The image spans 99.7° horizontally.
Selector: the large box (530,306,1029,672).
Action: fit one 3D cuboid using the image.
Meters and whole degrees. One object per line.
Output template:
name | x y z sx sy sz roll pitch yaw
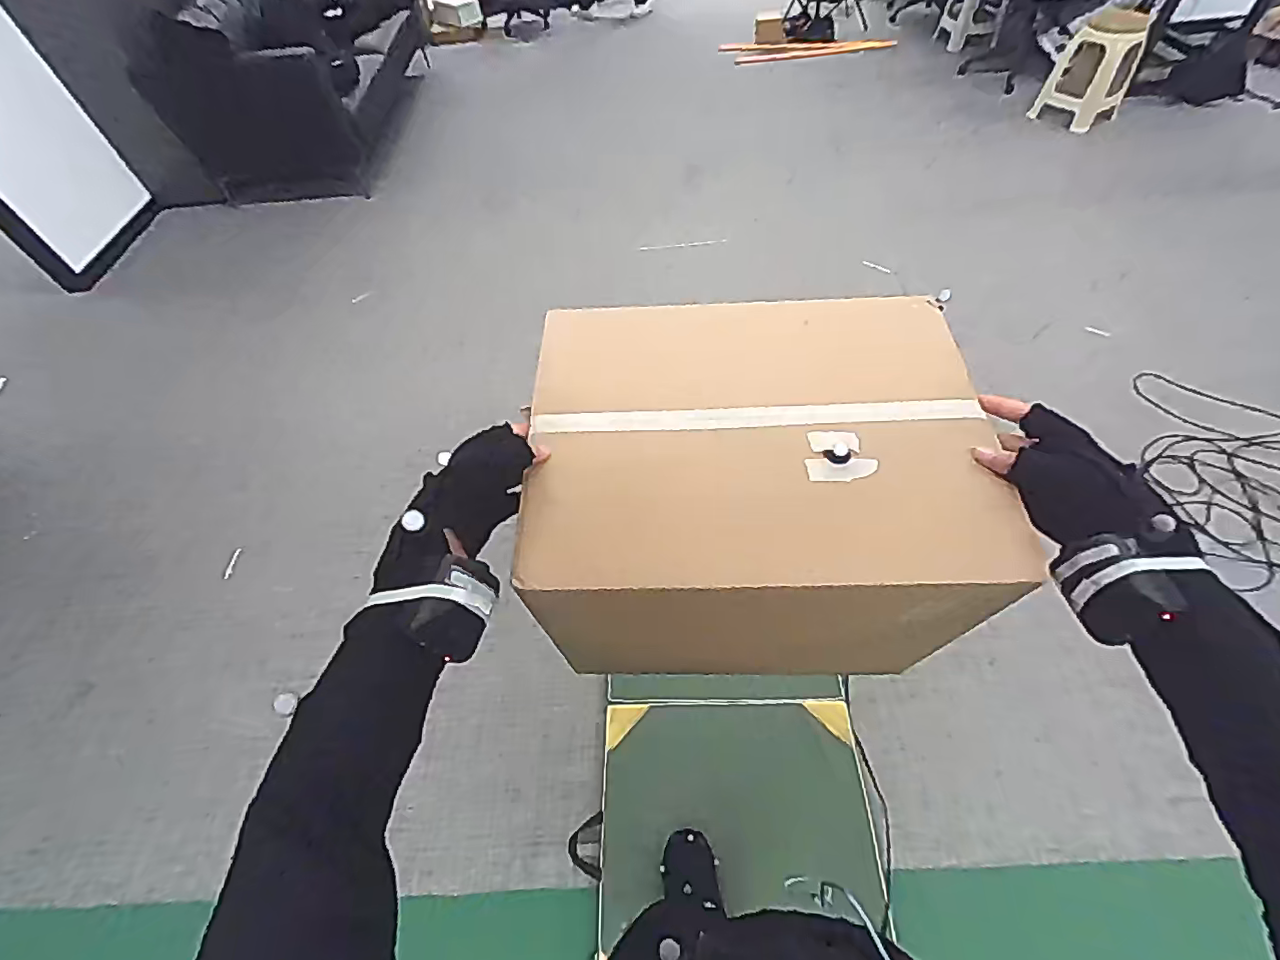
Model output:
large box | 0.110 0.028 0.630 0.408 0.320 0.320 -1 59 2
